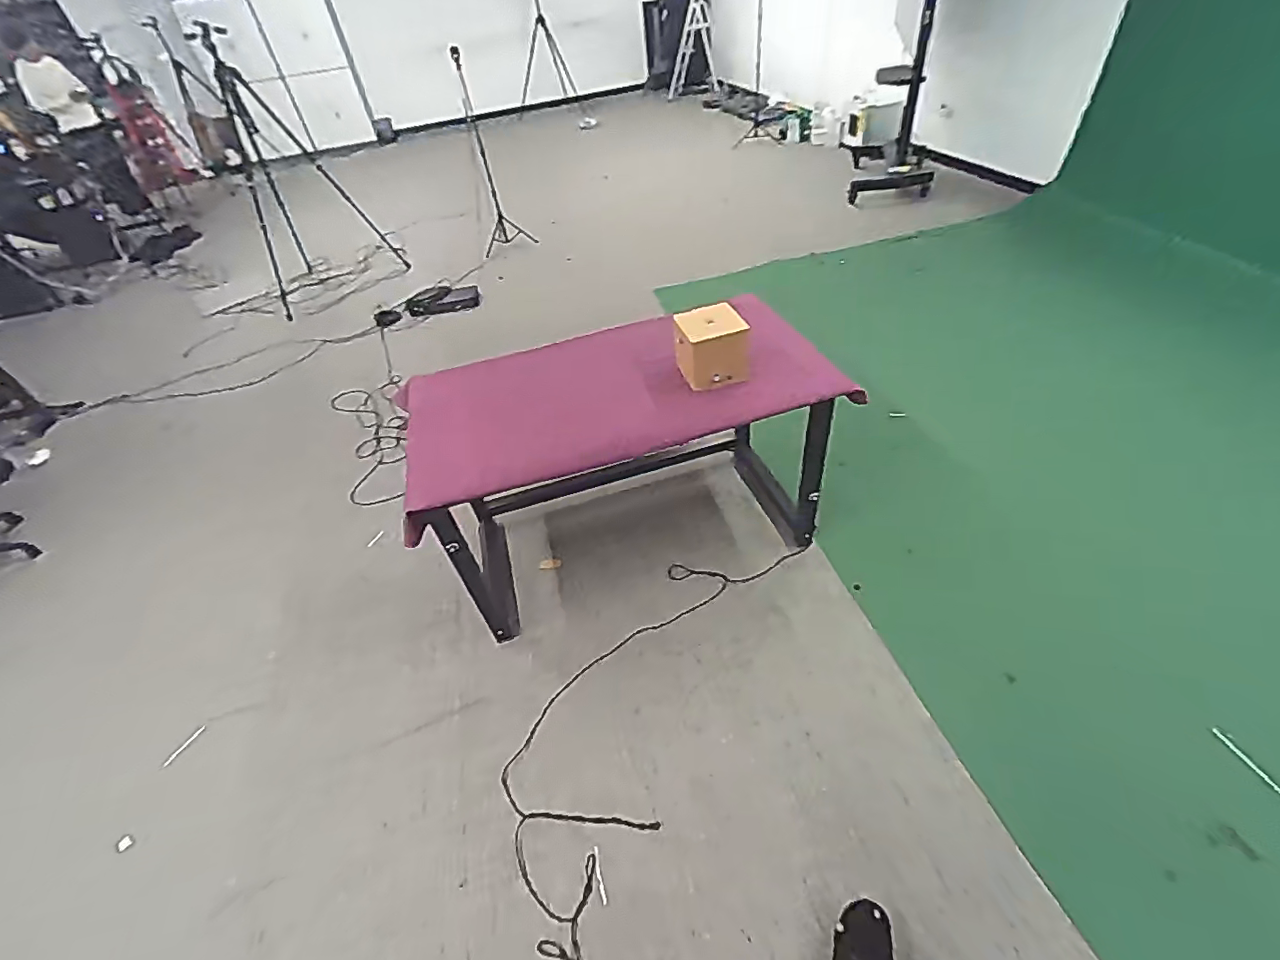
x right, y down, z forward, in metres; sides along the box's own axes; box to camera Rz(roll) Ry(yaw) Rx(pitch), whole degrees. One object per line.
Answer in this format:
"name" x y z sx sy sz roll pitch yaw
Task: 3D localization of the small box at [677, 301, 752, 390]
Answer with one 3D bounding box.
"small box" 0.209 -0.381 1.536 0.168 0.176 0.179 -16 43 -4
